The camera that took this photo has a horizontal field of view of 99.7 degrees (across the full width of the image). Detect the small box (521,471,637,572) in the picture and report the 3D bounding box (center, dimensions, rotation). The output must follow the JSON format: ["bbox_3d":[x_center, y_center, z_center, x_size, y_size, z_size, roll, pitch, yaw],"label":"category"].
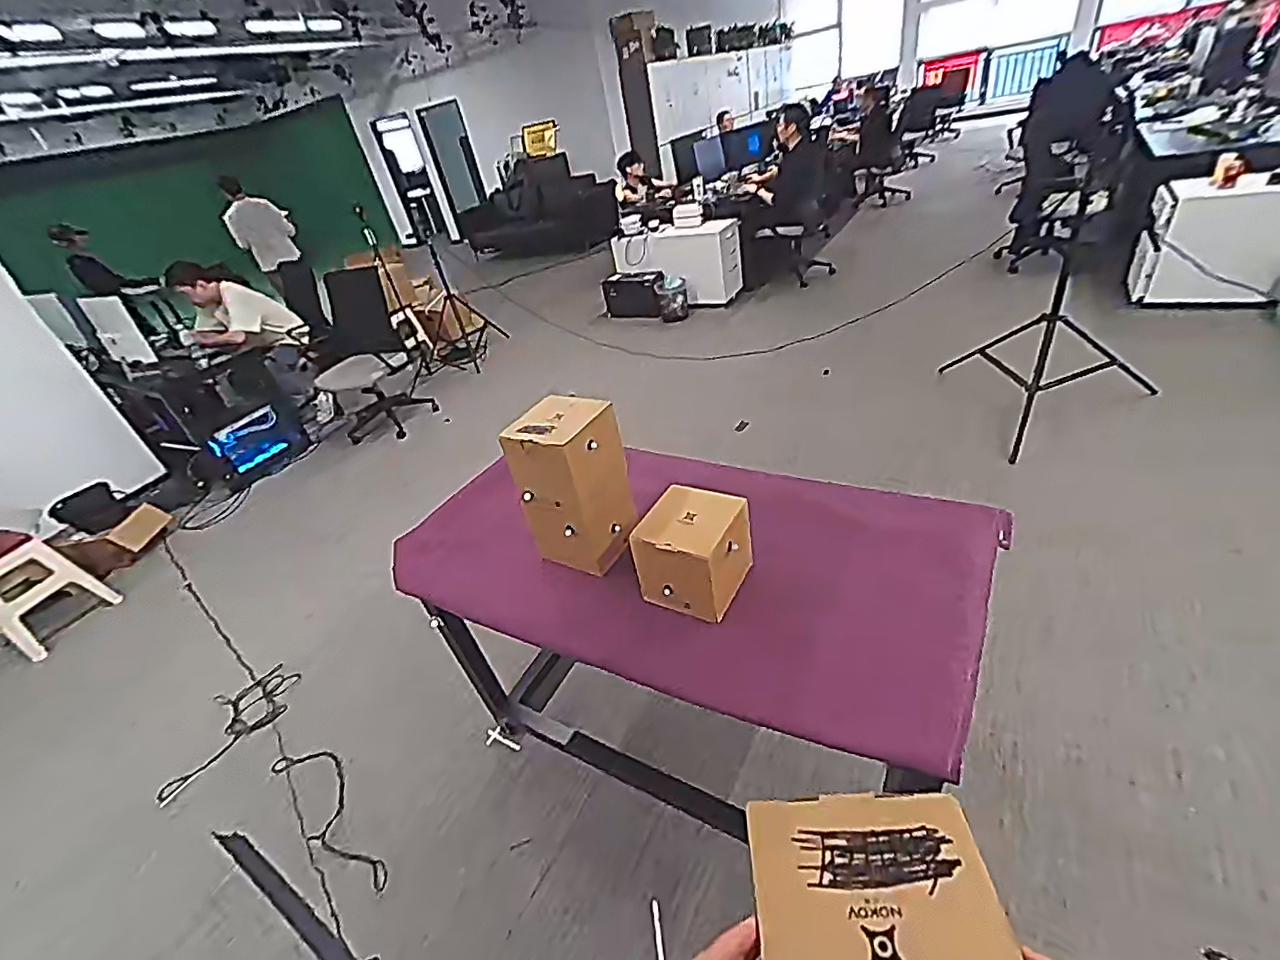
[{"bbox_3d":[-0.126,0.080,1.201,0.179,0.176,0.168,11,41,31],"label":"small box"}]

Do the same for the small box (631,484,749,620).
[{"bbox_3d":[0.105,0.135,1.049,0.168,0.176,0.179,11,41,31],"label":"small box"}]

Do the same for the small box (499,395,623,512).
[{"bbox_3d":[-0.152,-0.056,1.113,0.168,0.176,0.179,11,40,29],"label":"small box"}]
